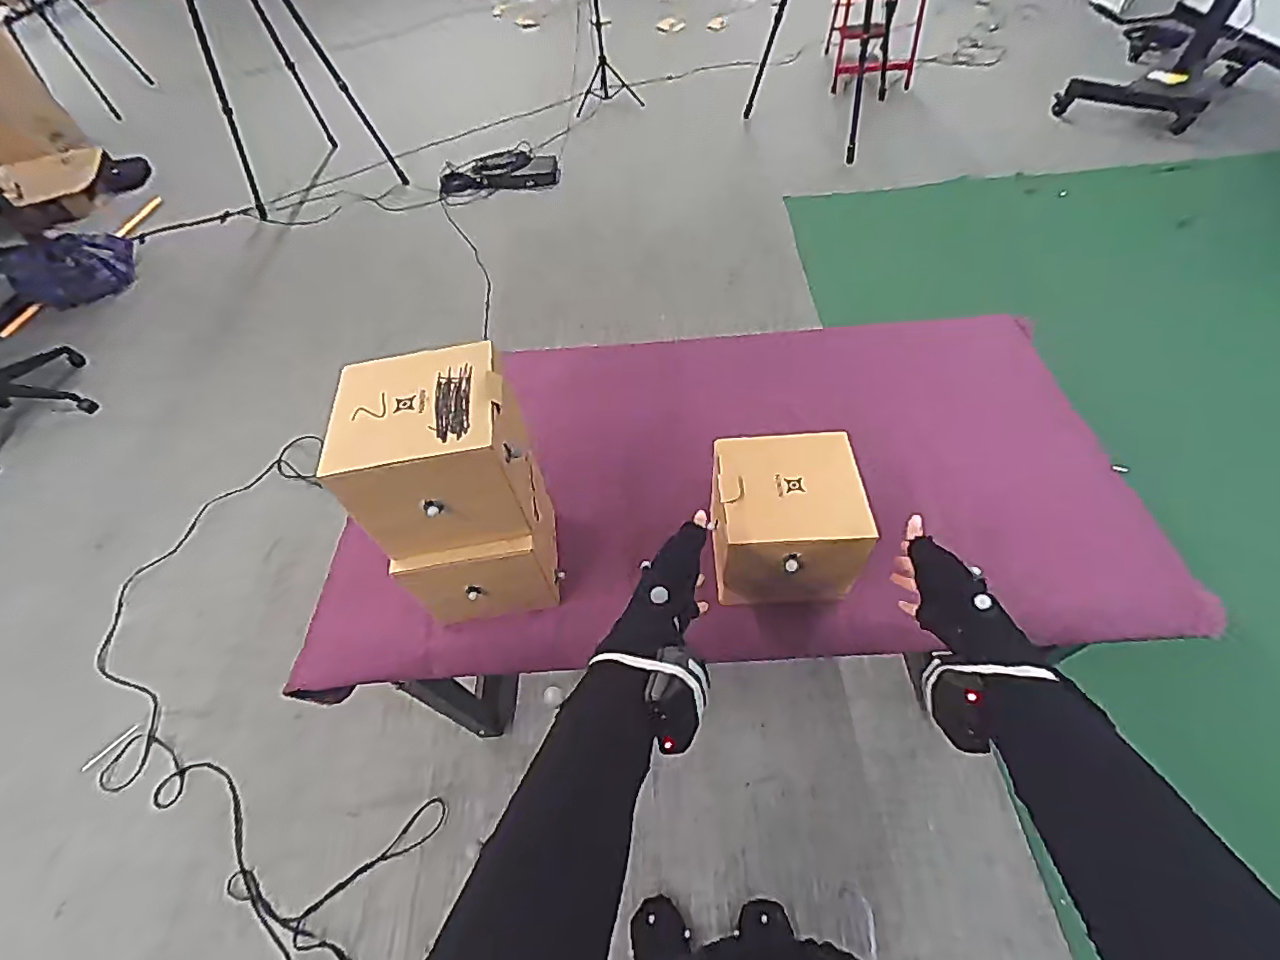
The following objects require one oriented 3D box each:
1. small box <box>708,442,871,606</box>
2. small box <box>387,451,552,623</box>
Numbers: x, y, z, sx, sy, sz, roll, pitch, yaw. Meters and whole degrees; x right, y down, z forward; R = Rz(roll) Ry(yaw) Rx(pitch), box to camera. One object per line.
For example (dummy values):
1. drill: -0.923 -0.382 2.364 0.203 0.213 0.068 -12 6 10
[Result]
1. small box: 0.189 0.065 0.743 0.179 0.176 0.168 -3 53 4
2. small box: -0.222 0.084 0.757 0.179 0.176 0.168 -9 53 -2
